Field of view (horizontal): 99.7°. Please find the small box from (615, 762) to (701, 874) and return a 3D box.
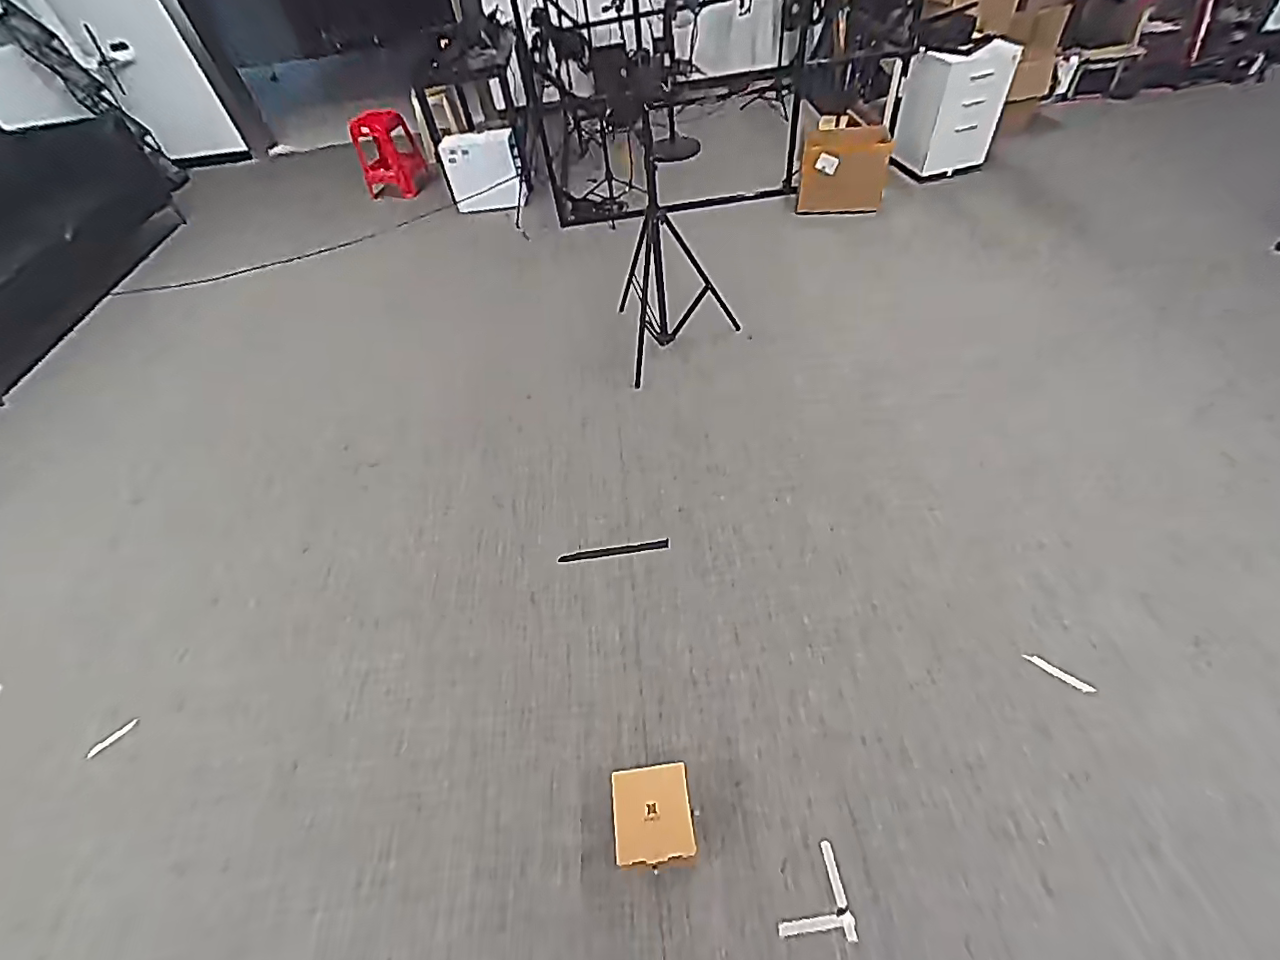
[{"bbox_3d":[0.040,0.757,1.208,0.168,0.176,0.179,-9,49,0],"label":"small box"}]
